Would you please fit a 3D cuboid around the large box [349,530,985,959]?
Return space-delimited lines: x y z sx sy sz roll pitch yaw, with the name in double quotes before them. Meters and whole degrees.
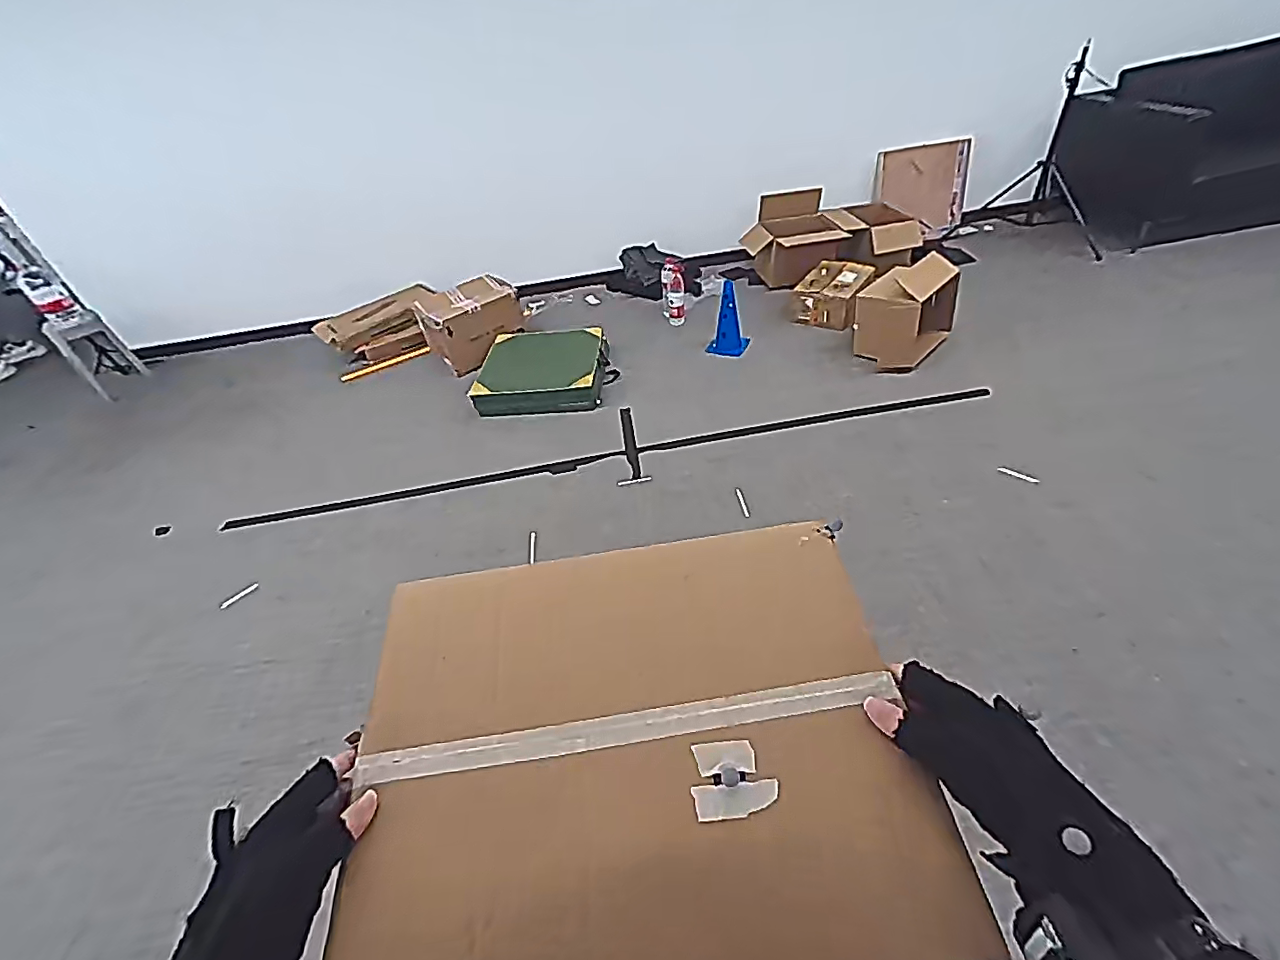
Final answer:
"large box" 0.007 0.288 0.529 0.408 0.320 0.320 -8 50 -2
